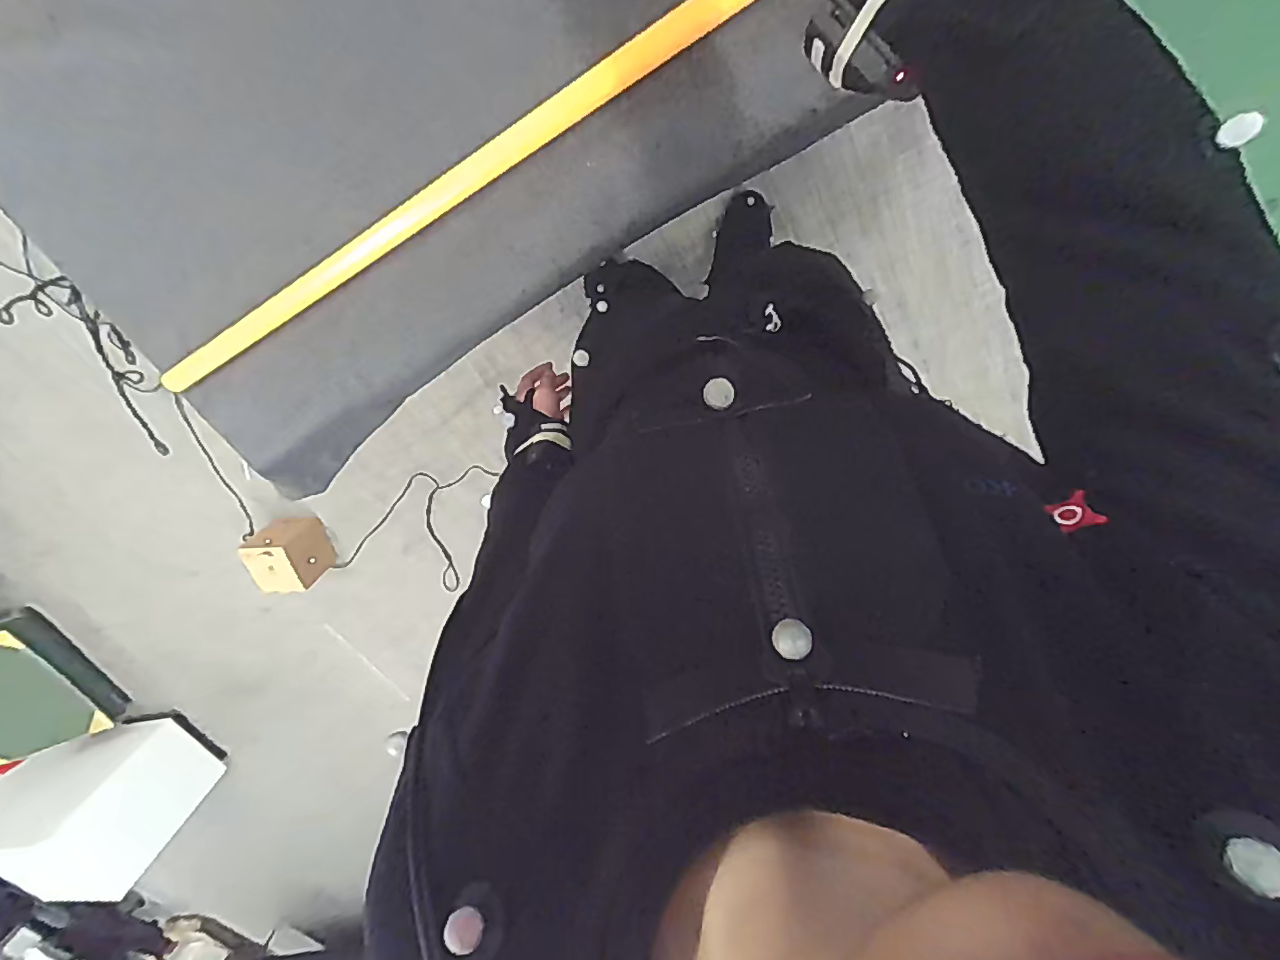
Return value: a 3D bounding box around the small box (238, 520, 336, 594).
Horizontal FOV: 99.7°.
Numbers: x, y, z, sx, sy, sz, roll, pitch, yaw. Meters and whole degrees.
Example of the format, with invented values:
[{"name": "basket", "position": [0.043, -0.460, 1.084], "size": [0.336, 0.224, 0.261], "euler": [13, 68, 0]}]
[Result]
[{"name": "small box", "position": [-1.125, 0.246, 1.739], "size": [0.168, 0.176, 0.179], "euler": [-3, 119, 11]}]
